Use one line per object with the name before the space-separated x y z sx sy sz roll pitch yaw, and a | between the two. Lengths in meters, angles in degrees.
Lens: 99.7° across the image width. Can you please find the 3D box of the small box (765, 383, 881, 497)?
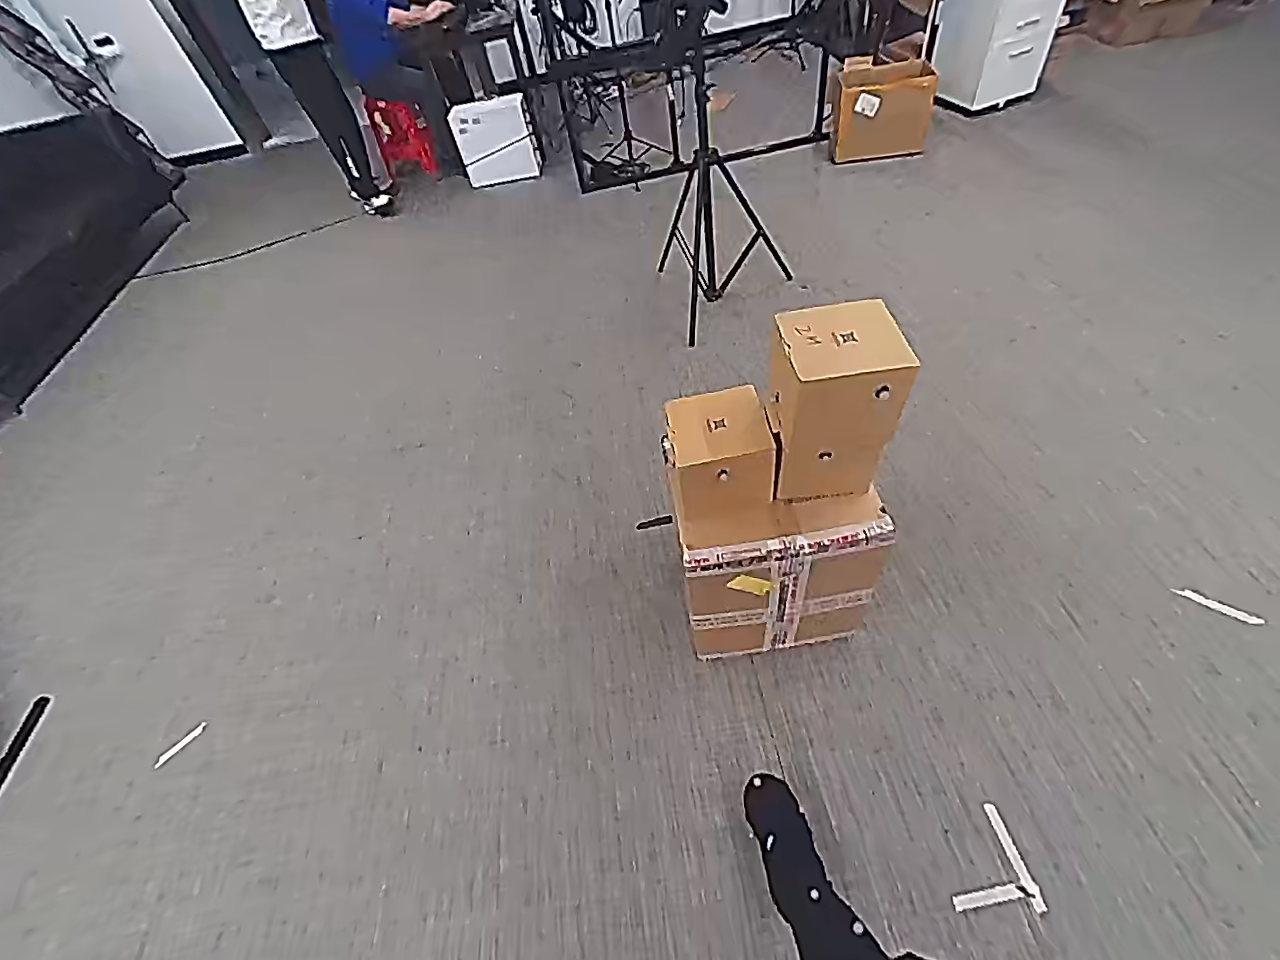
small box | 0.335 -0.081 1.022 0.179 0.176 0.168 -5 52 5

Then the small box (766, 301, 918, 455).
small box | 0.311 -0.161 0.878 0.179 0.176 0.168 -8 51 3
